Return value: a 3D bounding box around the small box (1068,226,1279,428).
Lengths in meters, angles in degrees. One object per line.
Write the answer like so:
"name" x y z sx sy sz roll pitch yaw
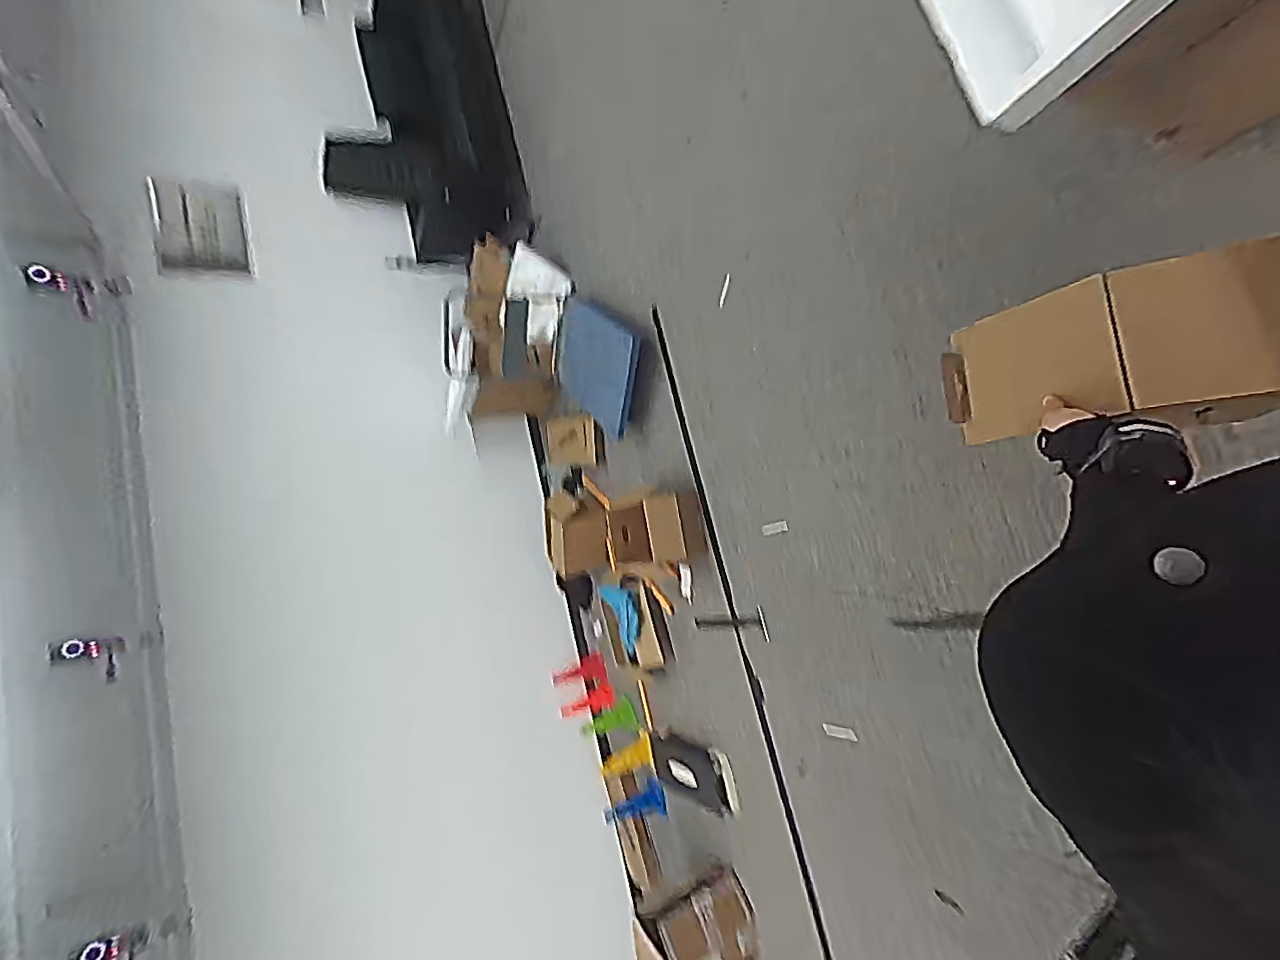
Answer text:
"small box" 0.628 -0.161 0.624 0.179 0.176 0.168 -6 83 21
